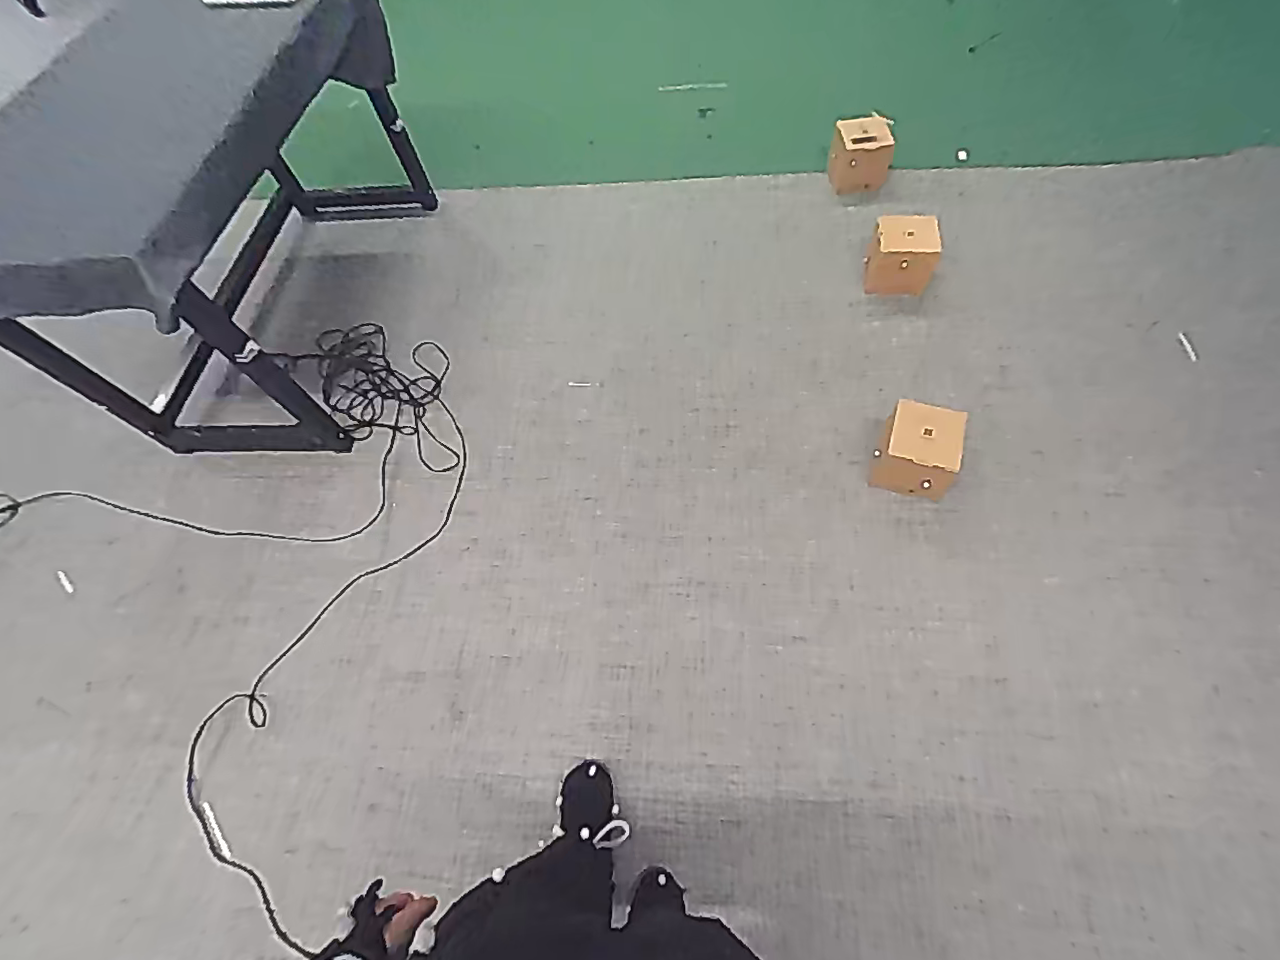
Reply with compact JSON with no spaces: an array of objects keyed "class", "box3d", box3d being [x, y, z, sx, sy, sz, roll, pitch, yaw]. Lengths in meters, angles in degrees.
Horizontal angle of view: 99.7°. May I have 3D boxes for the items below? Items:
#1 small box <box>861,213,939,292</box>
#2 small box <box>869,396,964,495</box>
[{"class":"small box","box3d":[0.817,-0.718,1.716,0.179,0.176,0.168,4,63,9]},{"class":"small box","box3d":[0.705,-0.083,1.394,0.168,0.176,0.179,16,64,12]}]
